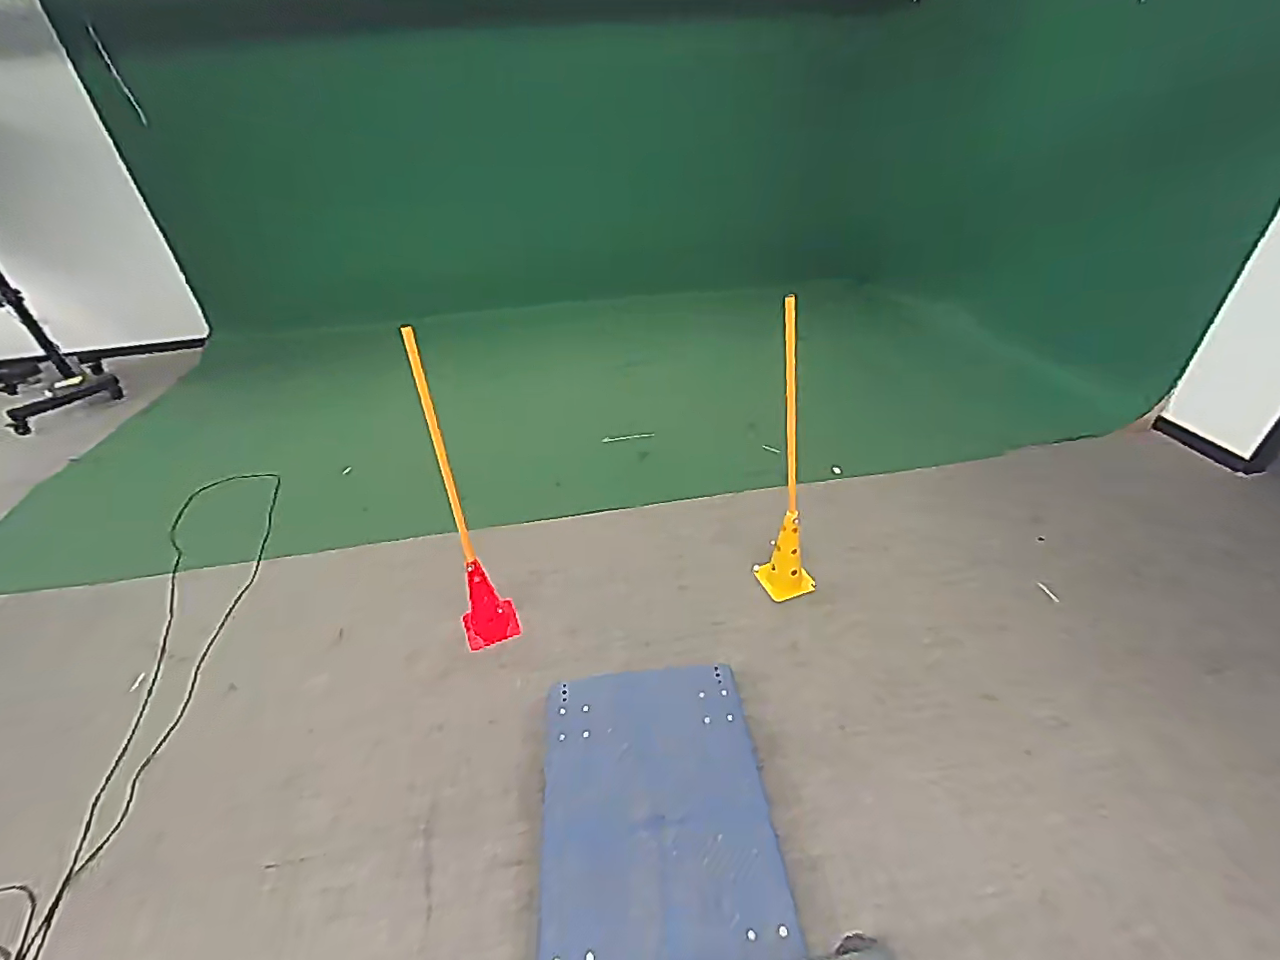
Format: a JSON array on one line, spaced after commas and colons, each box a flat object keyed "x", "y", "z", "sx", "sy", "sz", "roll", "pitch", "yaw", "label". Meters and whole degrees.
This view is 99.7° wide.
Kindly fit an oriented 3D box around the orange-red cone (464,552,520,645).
[{"x": -0.589, "y": 0.407, "z": 2.007, "sx": 0.199, "sy": 0.360, "sz": 0.198, "roll": -18, "pitch": 38, "yaw": -16, "label": "orange-red cone"}]
